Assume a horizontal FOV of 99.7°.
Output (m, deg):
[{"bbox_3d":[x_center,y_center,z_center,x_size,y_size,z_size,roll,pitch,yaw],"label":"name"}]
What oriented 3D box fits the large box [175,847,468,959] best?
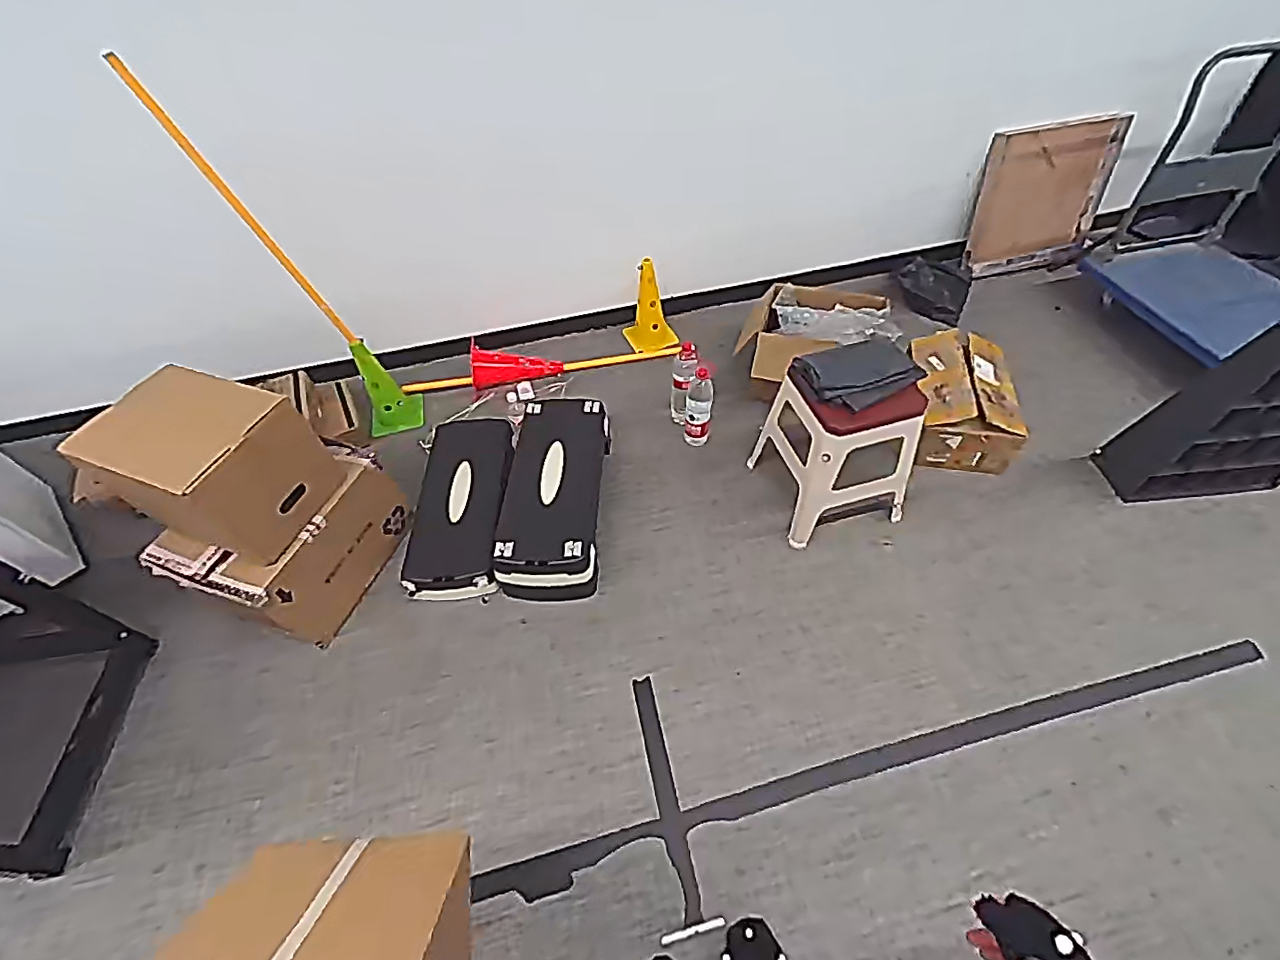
[{"bbox_3d":[-0.402,0.720,0.638,0.320,0.408,0.320,-2,88,-3],"label":"large box"}]
